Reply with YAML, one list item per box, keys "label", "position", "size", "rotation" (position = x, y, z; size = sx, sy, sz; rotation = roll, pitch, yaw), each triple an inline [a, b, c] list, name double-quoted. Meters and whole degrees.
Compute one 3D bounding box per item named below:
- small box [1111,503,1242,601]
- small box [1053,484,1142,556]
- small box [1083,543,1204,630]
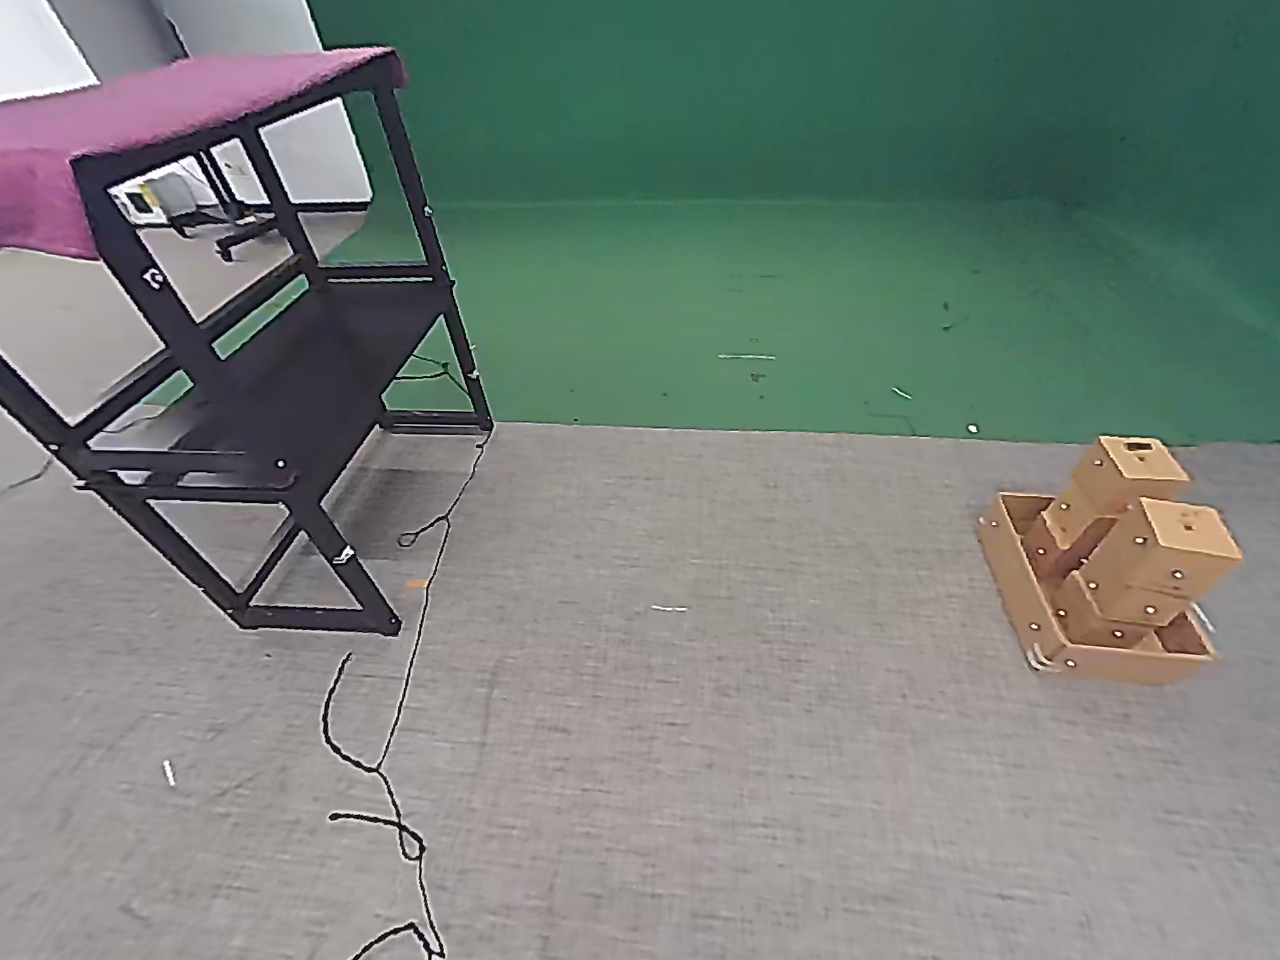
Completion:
- label: "small box"
  position: [1.389, 0.190, 1.416]
  size: [0.168, 0.176, 0.179]
  rotation: [10, 45, 16]
- label: "small box"
  position: [1.459, 0.131, 1.718]
  size: [0.179, 0.176, 0.168]
  rotation: [2, 46, 6]
- label: "small box"
  position: [1.414, 0.303, 1.534]
  size: [0.168, 0.176, 0.179]
  rotation: [5, 44, 10]
